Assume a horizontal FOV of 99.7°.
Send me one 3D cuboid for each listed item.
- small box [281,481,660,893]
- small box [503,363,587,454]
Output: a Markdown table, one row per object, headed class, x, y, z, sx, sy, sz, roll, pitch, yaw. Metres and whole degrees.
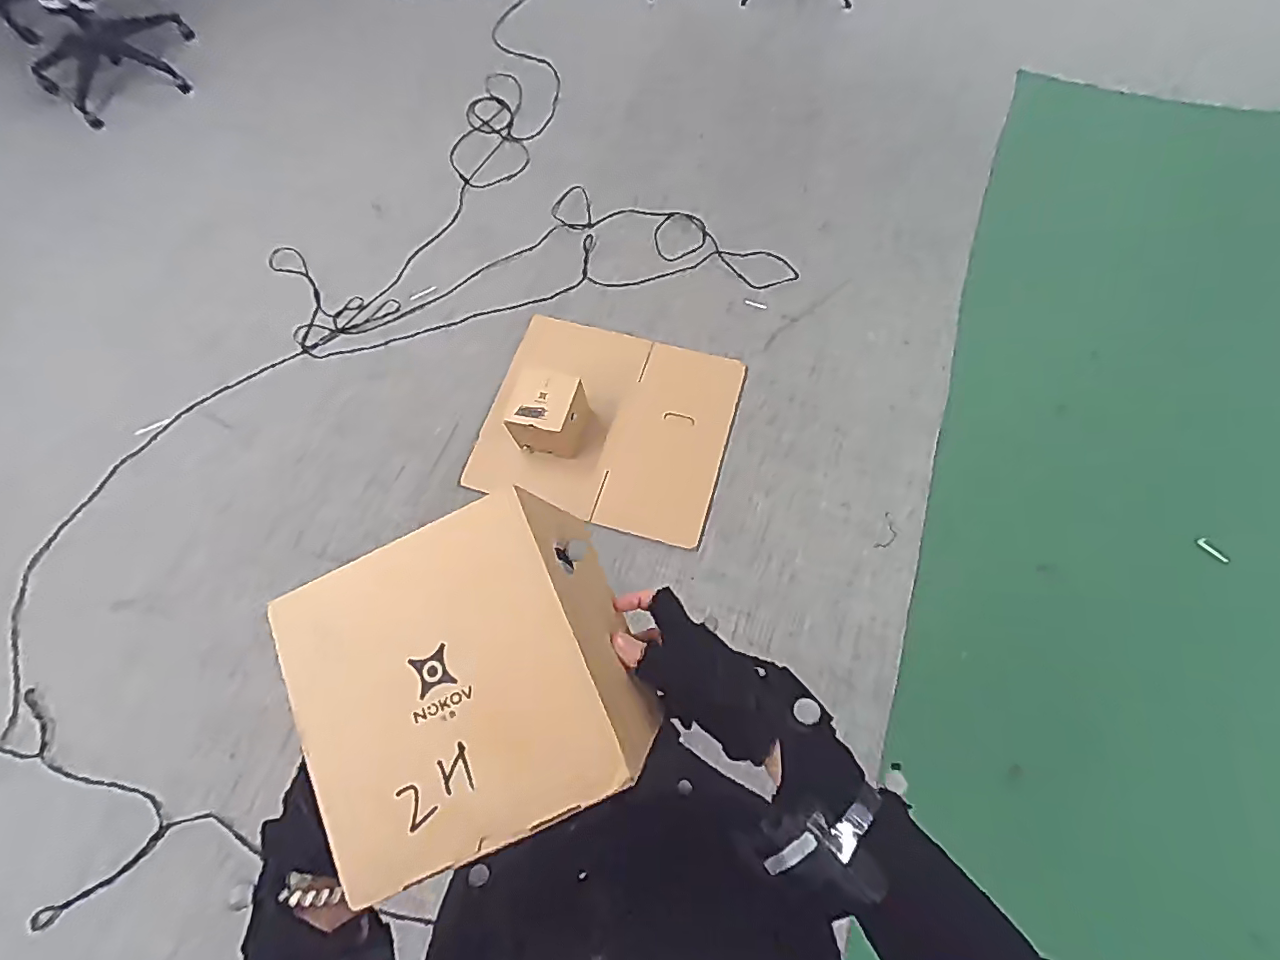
| class | x | y | z | sx | sy | sz | roll | pitch | yaw |
| --- | --- | --- | --- | --- | --- | --- | --- | --- | --- |
| small box | -0.097 | 0.125 | 0.377 | 0.168 | 0.176 | 0.179 | -25 | 76 | 3 |
| small box | -0.253 | -0.192 | 1.499 | 0.168 | 0.176 | 0.179 | 13 | 69 | 8 |
